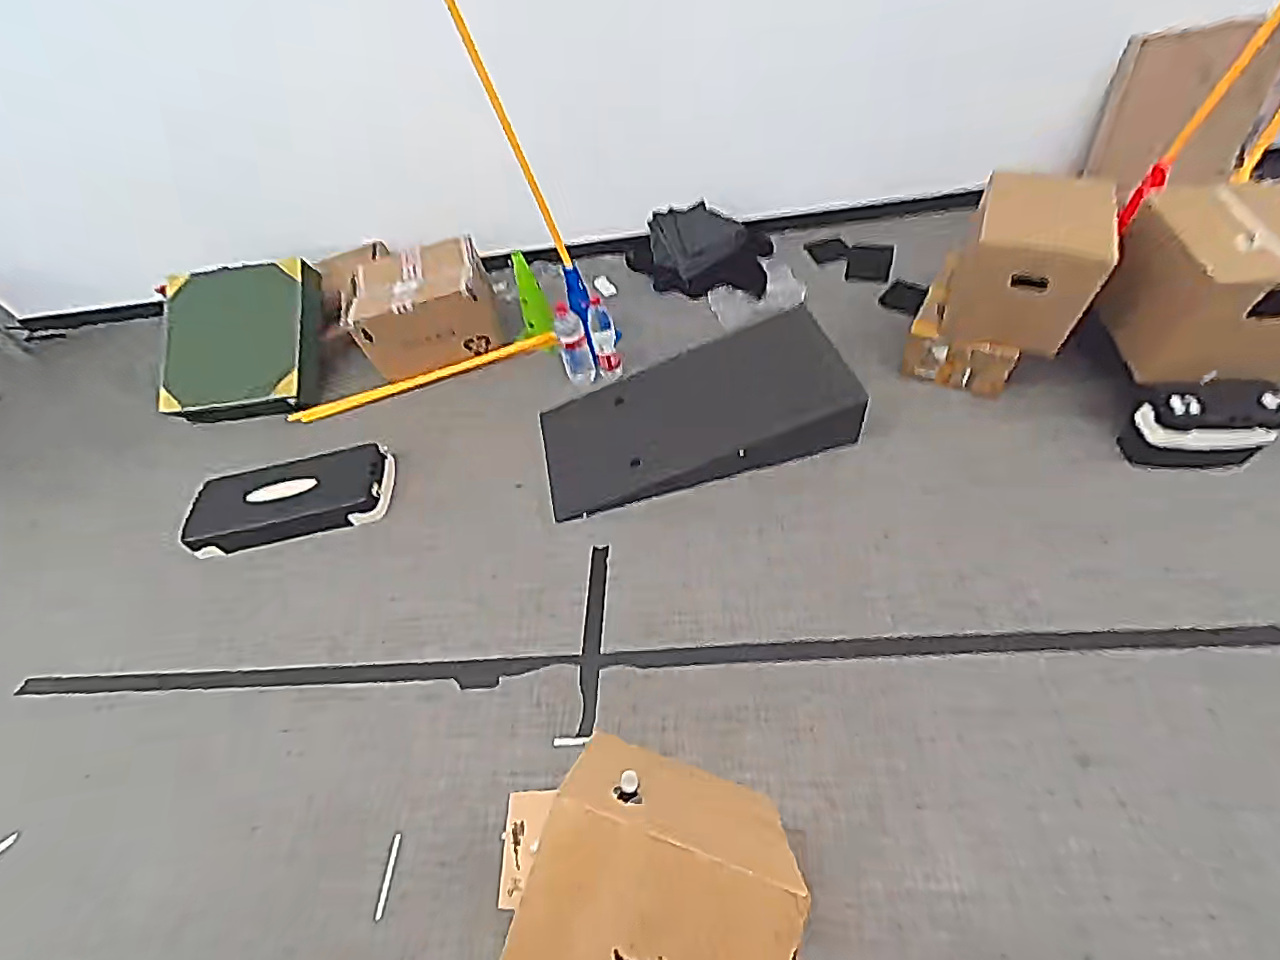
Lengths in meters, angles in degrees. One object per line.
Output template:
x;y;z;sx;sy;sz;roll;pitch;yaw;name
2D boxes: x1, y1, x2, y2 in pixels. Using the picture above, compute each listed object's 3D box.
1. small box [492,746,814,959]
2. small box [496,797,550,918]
0.004;0.321;0.399;0.179;0.176;0.168;18;80;7;small box
-0.132;0.662;0.951;0.179;0.176;0.168;-5;52;5;small box
